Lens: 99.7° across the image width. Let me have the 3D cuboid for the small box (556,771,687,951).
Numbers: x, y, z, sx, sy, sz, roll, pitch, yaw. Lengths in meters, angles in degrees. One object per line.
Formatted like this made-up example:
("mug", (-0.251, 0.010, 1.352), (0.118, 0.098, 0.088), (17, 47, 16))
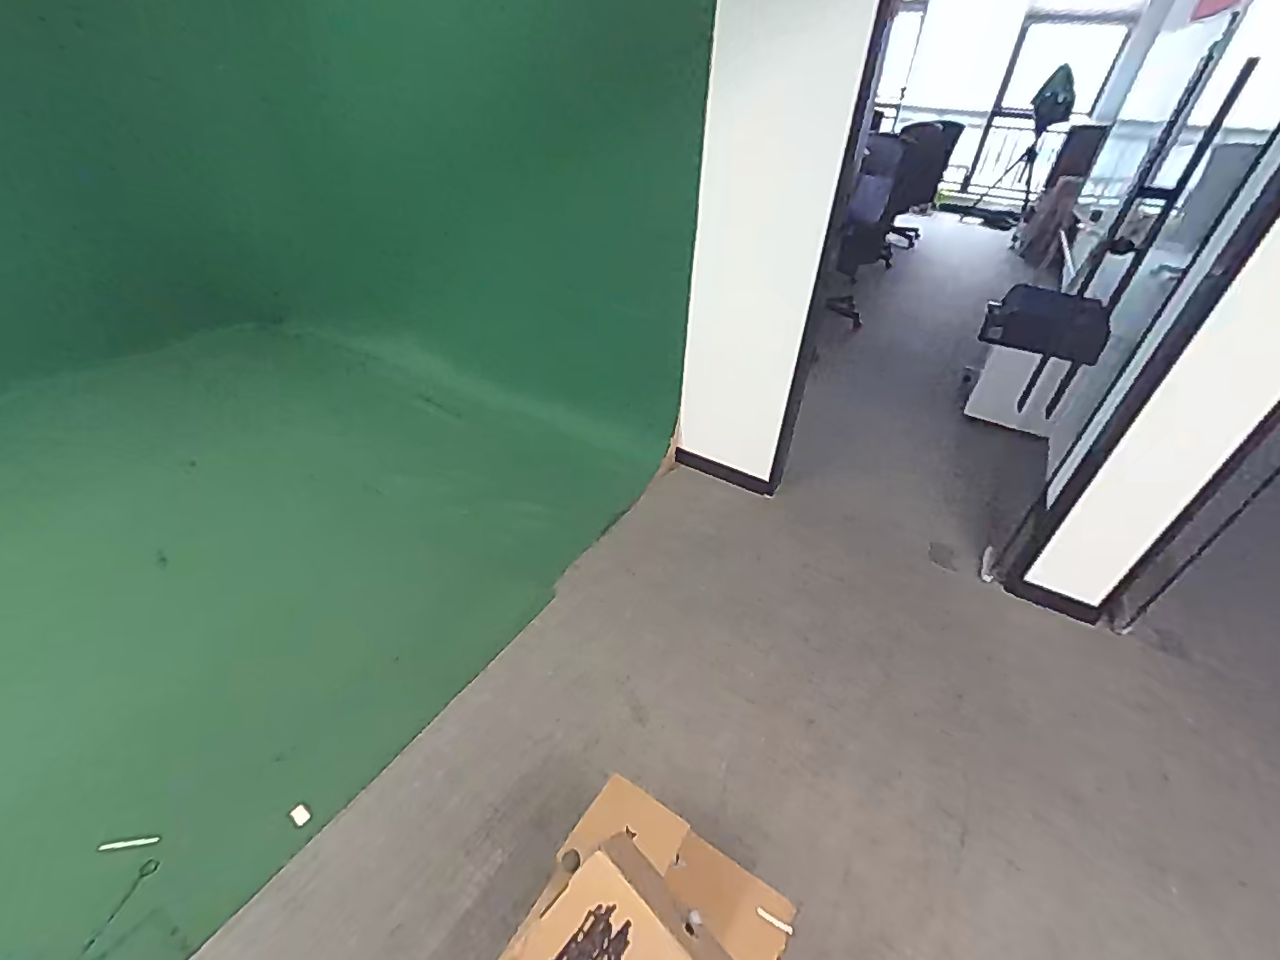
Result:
("small box", (-0.035, 0.682, 0.973), (0.168, 0.176, 0.179), (23, 39, 25))
